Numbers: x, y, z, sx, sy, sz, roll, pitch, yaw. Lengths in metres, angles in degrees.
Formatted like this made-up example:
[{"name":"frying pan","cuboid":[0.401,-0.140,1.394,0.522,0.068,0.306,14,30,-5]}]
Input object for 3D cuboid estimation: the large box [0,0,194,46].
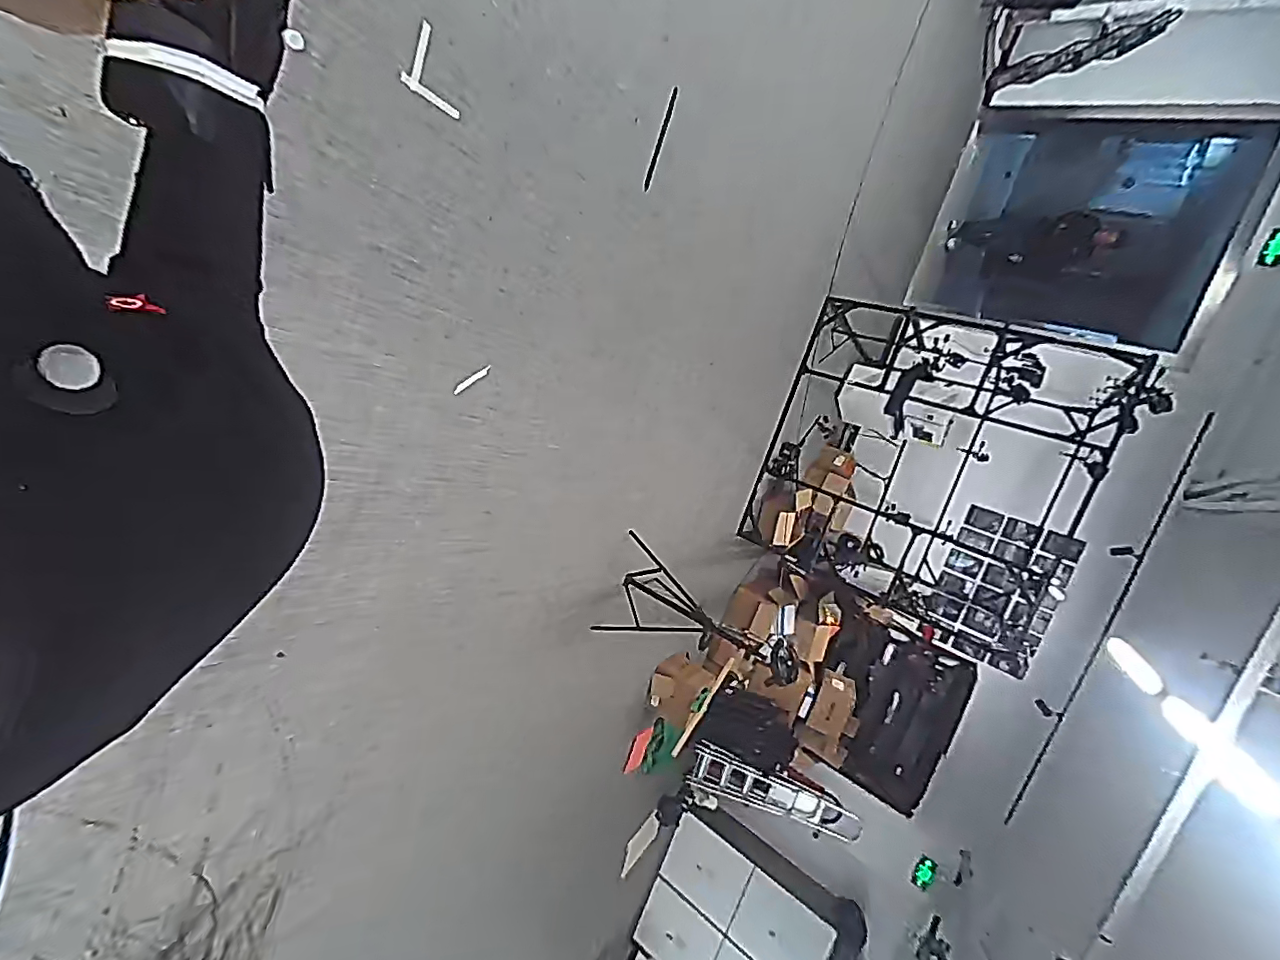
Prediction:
[{"name":"large box","cuboid":[-0.485,-0.471,0.227,0.408,0.320,0.320,-7,121,-57]}]
